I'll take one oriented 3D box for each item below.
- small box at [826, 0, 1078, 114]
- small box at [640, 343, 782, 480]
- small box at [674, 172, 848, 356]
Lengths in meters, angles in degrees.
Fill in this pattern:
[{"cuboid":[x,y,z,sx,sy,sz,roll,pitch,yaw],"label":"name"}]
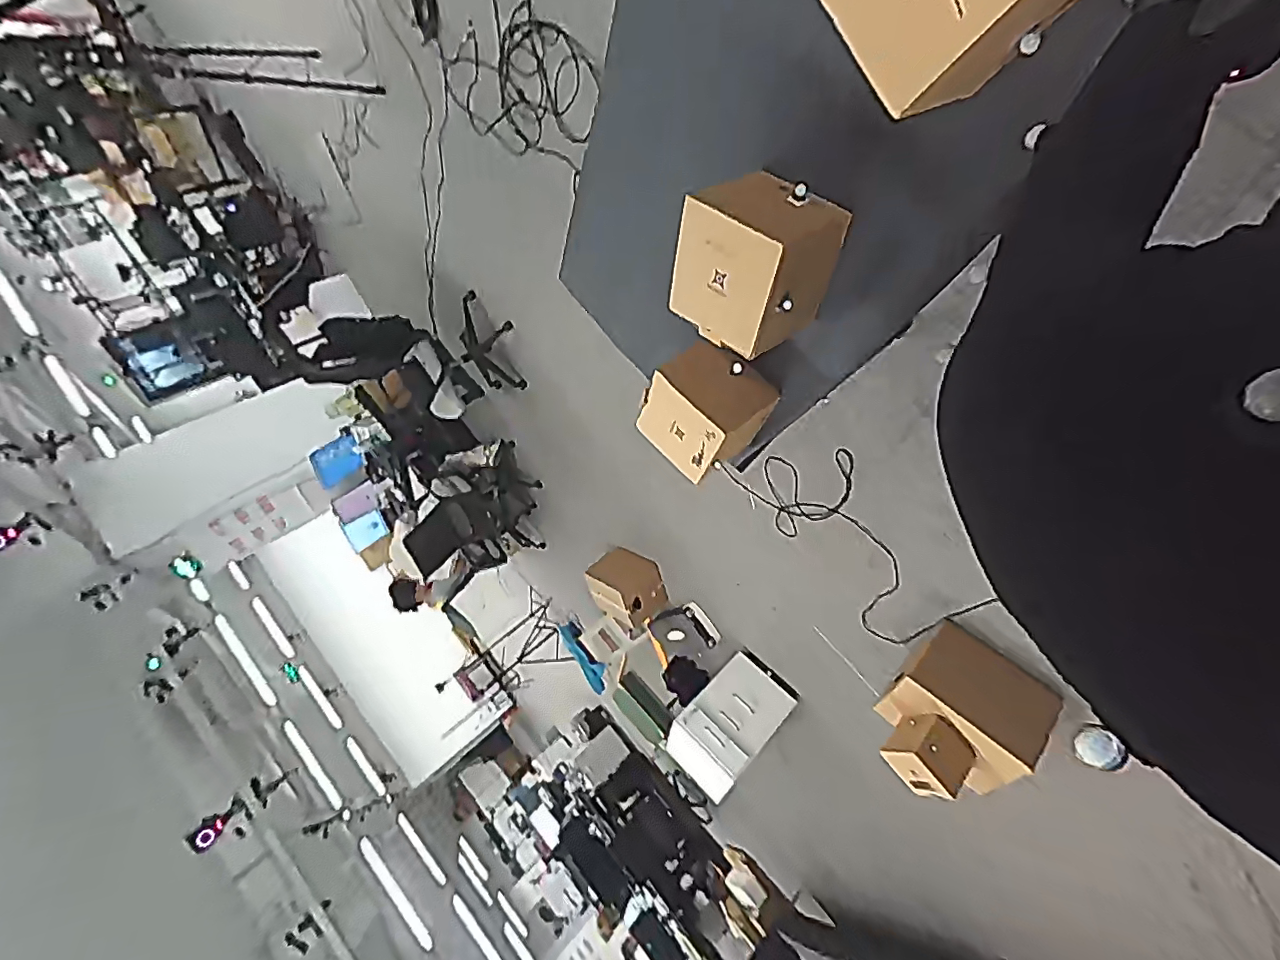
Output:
[{"cuboid":[0.288,-0.469,0.473,0.179,0.176,0.168,56,151,-3],"label":"small box"},{"cuboid":[0.133,-0.139,1.034,0.179,0.176,0.168,46,149,15],"label":"small box"},{"cuboid":[0.174,-0.321,0.795,0.168,0.176,0.179,39,146,24],"label":"small box"}]
